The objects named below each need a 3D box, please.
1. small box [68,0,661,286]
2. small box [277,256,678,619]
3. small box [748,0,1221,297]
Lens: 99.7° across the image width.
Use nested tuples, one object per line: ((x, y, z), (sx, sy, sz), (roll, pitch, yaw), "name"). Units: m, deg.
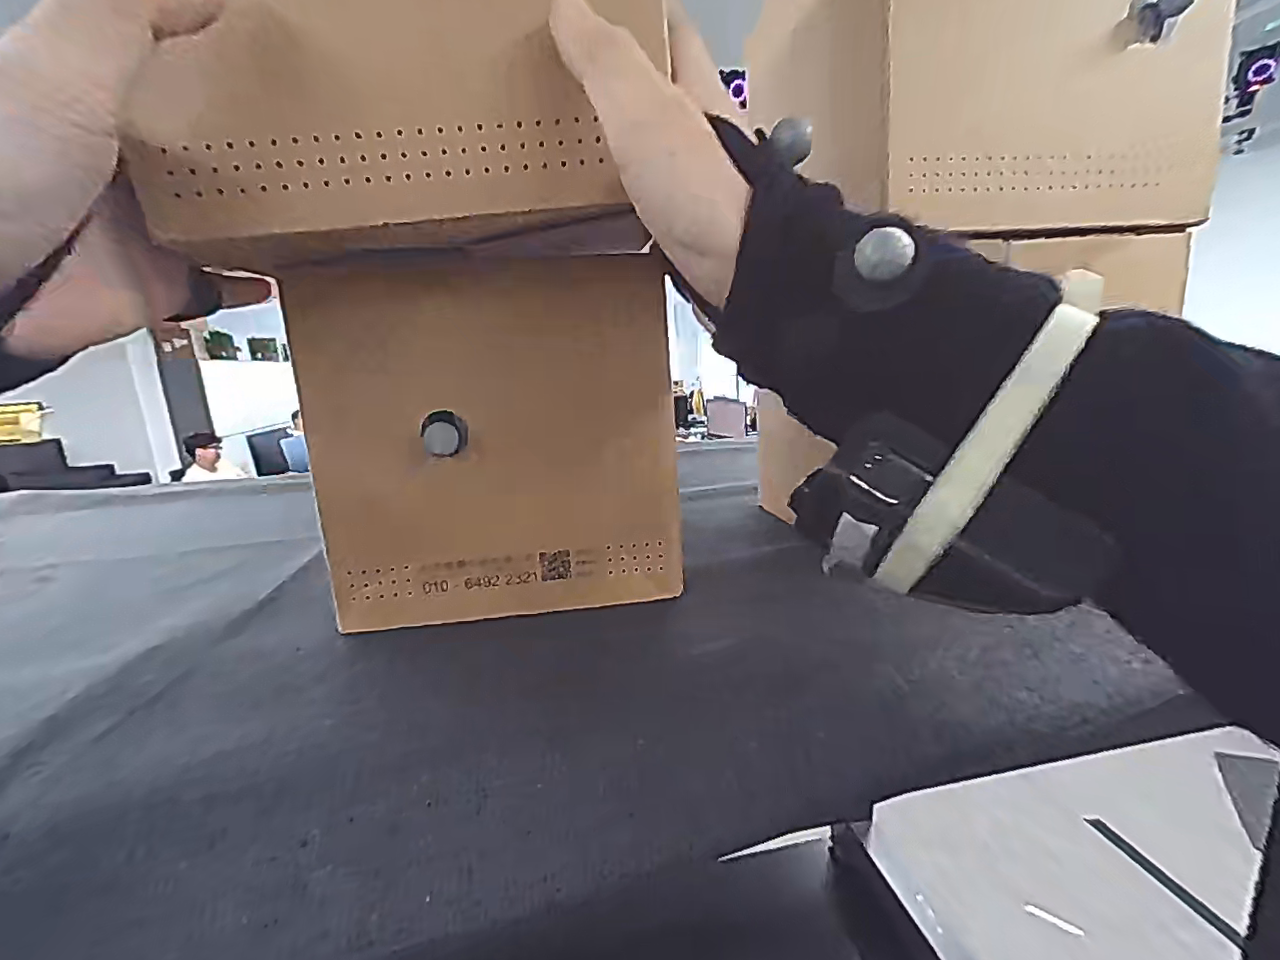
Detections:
((-0.091, -0.179, 0.234), (0.179, 0.176, 0.168), (-10, 15, -6), "small box")
((-0.074, -0.025, 0.328), (0.168, 0.176, 0.179), (-5, 11, -6), "small box")
((0.174, -0.206, 0.315), (0.179, 0.176, 0.168), (-7, 10, -8), "small box")
